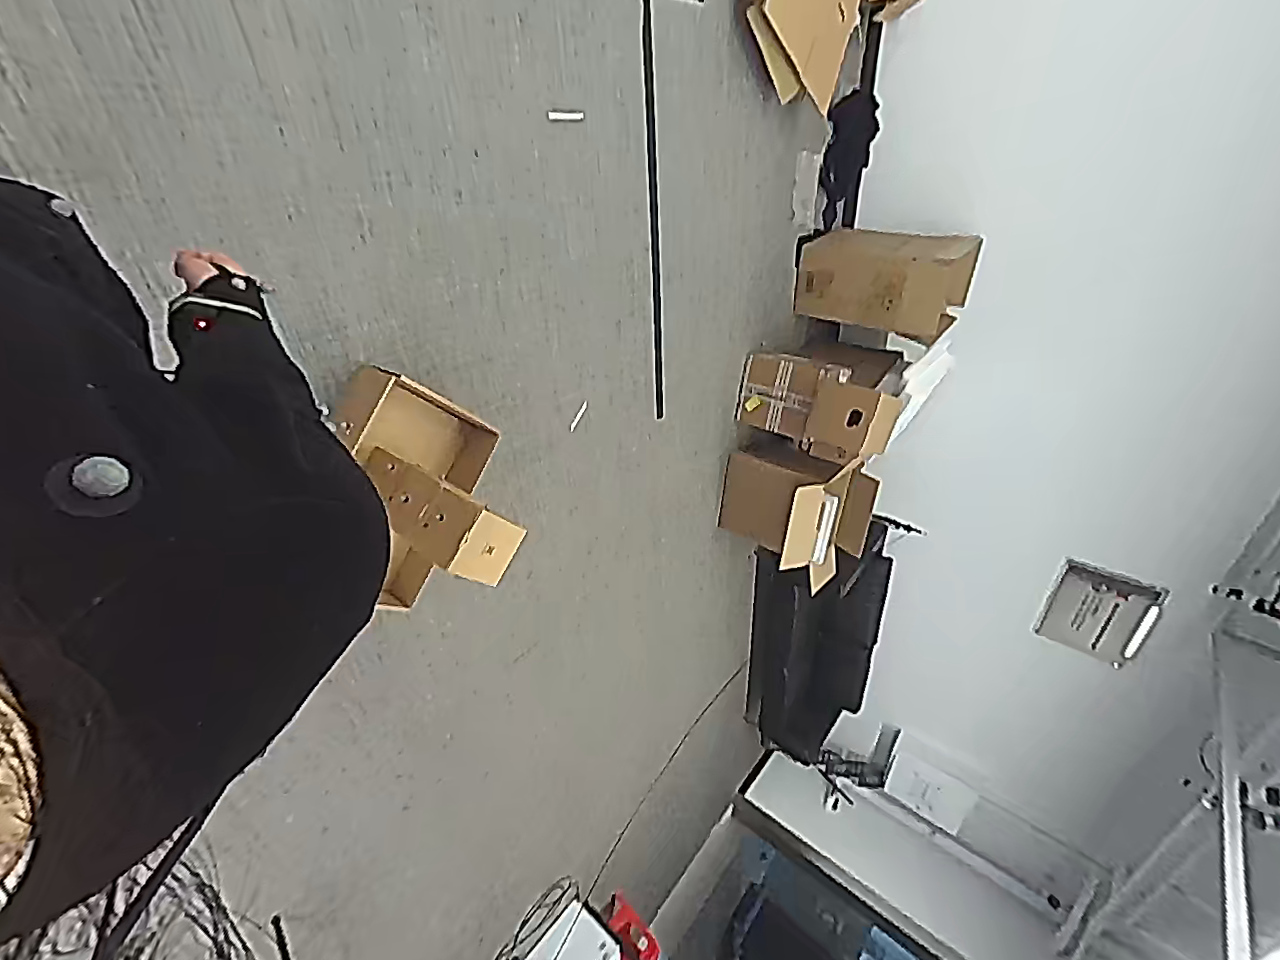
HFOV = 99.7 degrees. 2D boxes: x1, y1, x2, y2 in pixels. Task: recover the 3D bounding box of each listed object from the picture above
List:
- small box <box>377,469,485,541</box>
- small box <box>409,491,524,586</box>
[{"bbox_3d":[-0.563,0.085,1.448,0.168,0.176,0.179,-61,145,-8],"label":"small box"},{"bbox_3d":[-0.437,0.145,1.363,0.168,0.176,0.179,-62,146,-8],"label":"small box"}]
